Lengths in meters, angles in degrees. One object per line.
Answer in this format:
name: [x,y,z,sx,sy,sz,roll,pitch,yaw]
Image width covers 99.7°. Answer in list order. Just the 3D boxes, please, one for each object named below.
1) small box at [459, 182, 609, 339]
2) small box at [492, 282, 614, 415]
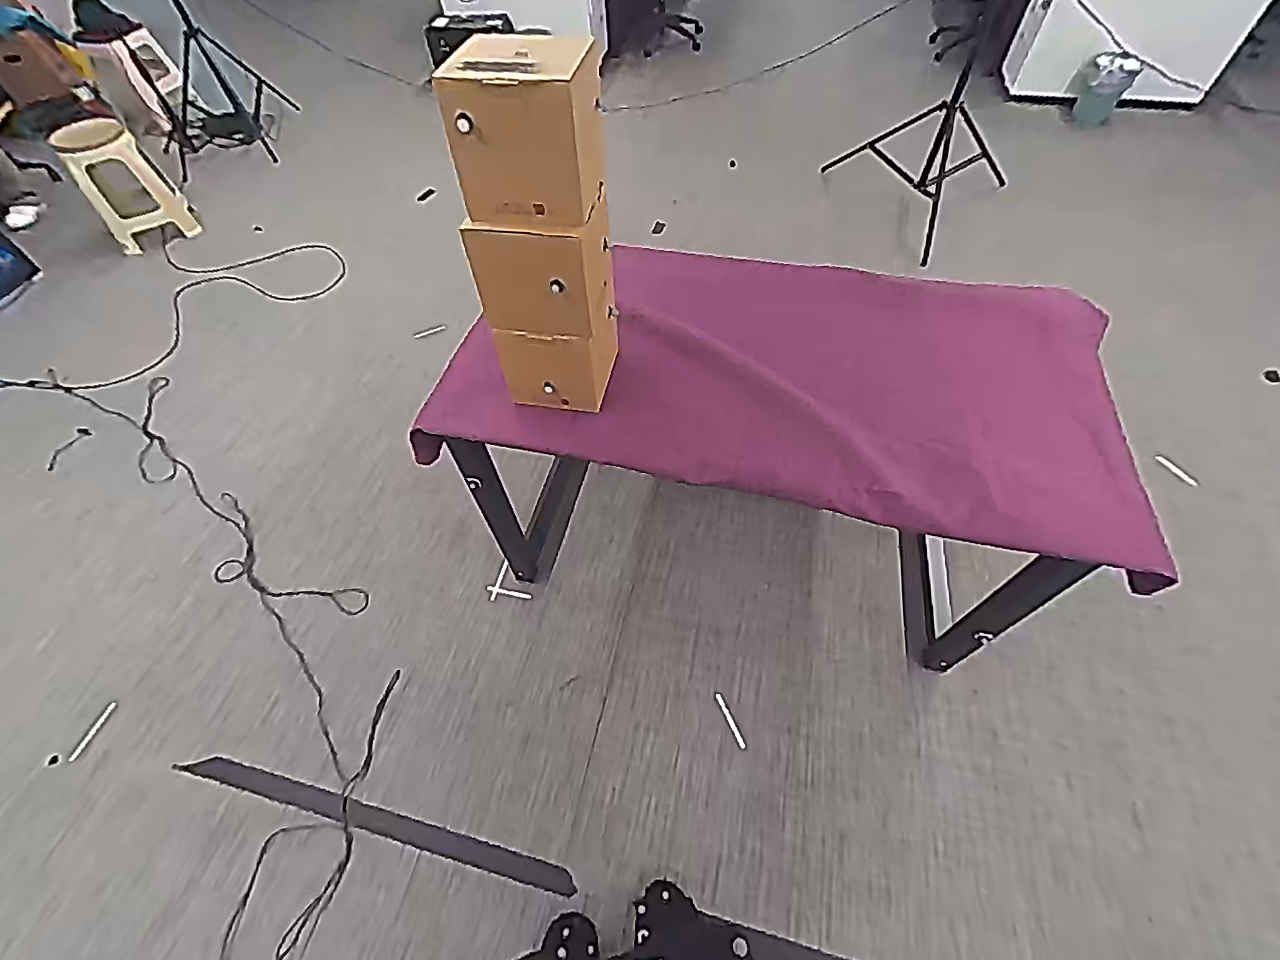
small box: [-0.151,-0.340,0.849,0.179,0.176,0.168,6,53,7]
small box: [-0.145,-0.244,0.979,0.168,0.176,0.179,7,55,8]
